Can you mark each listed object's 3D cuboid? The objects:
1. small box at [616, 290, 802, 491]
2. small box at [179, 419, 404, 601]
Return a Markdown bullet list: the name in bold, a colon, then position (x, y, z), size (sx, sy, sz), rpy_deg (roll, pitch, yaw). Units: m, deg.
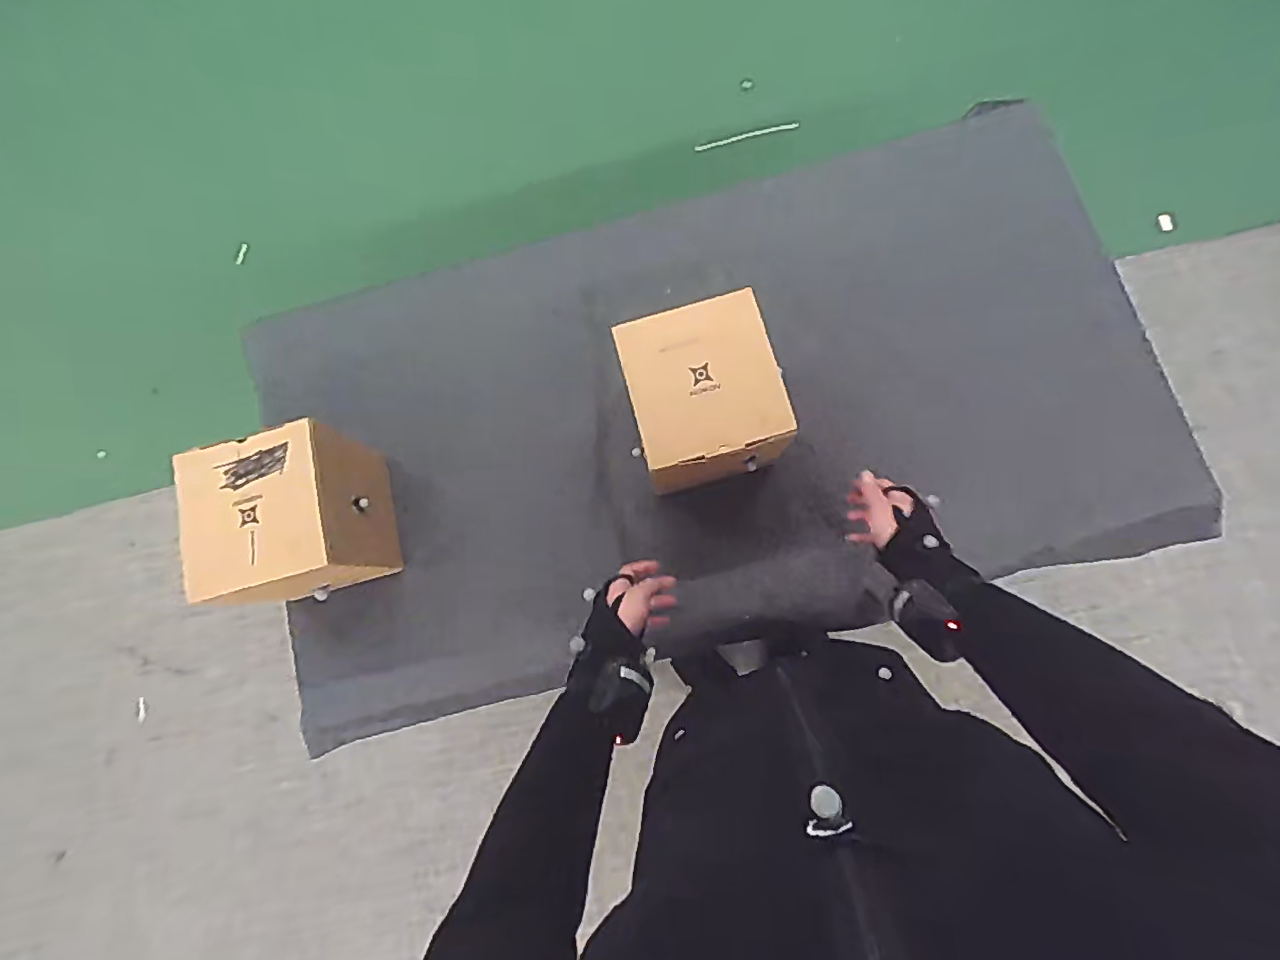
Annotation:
- **small box**: position (0.078, -0.093, 0.660), size (0.168, 0.176, 0.179), rpy_deg (-16, 77, 1)
- **small box**: position (-0.420, 0.048, 0.673), size (0.168, 0.176, 0.179), rpy_deg (-15, 78, 2)
